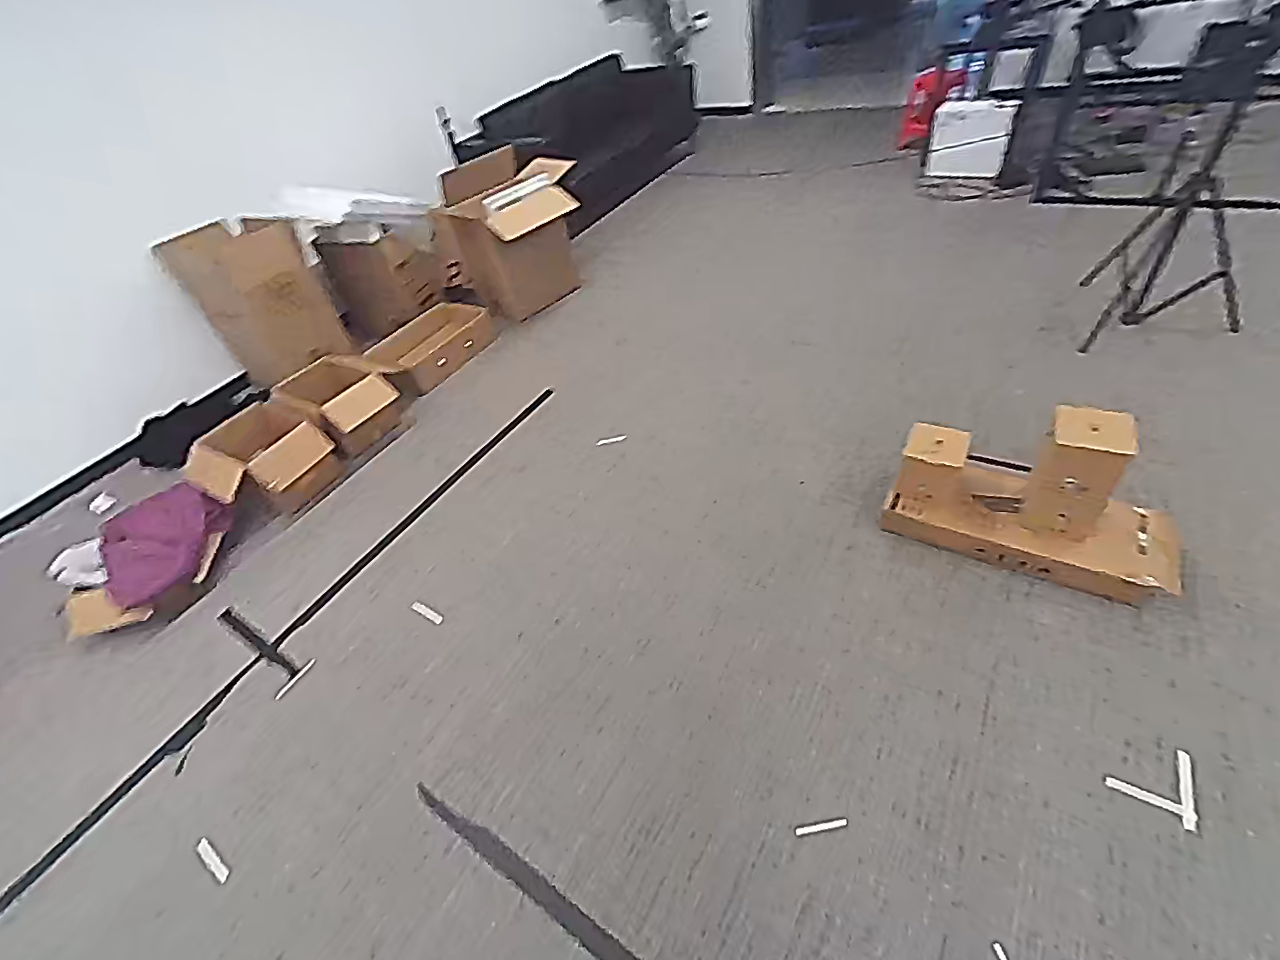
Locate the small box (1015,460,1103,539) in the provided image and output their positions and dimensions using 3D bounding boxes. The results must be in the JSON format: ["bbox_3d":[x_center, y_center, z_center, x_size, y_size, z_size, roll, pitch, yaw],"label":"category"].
[{"bbox_3d":[1.219,0.044,1.577,0.168,0.176,0.179,16,51,26],"label":"small box"}]

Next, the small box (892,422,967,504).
[{"bbox_3d":[0.924,-0.054,1.736,0.168,0.176,0.179,18,51,27],"label":"small box"}]

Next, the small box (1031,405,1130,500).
[{"bbox_3d":[1.187,-0.075,1.469,0.168,0.176,0.179,13,50,25],"label":"small box"}]
